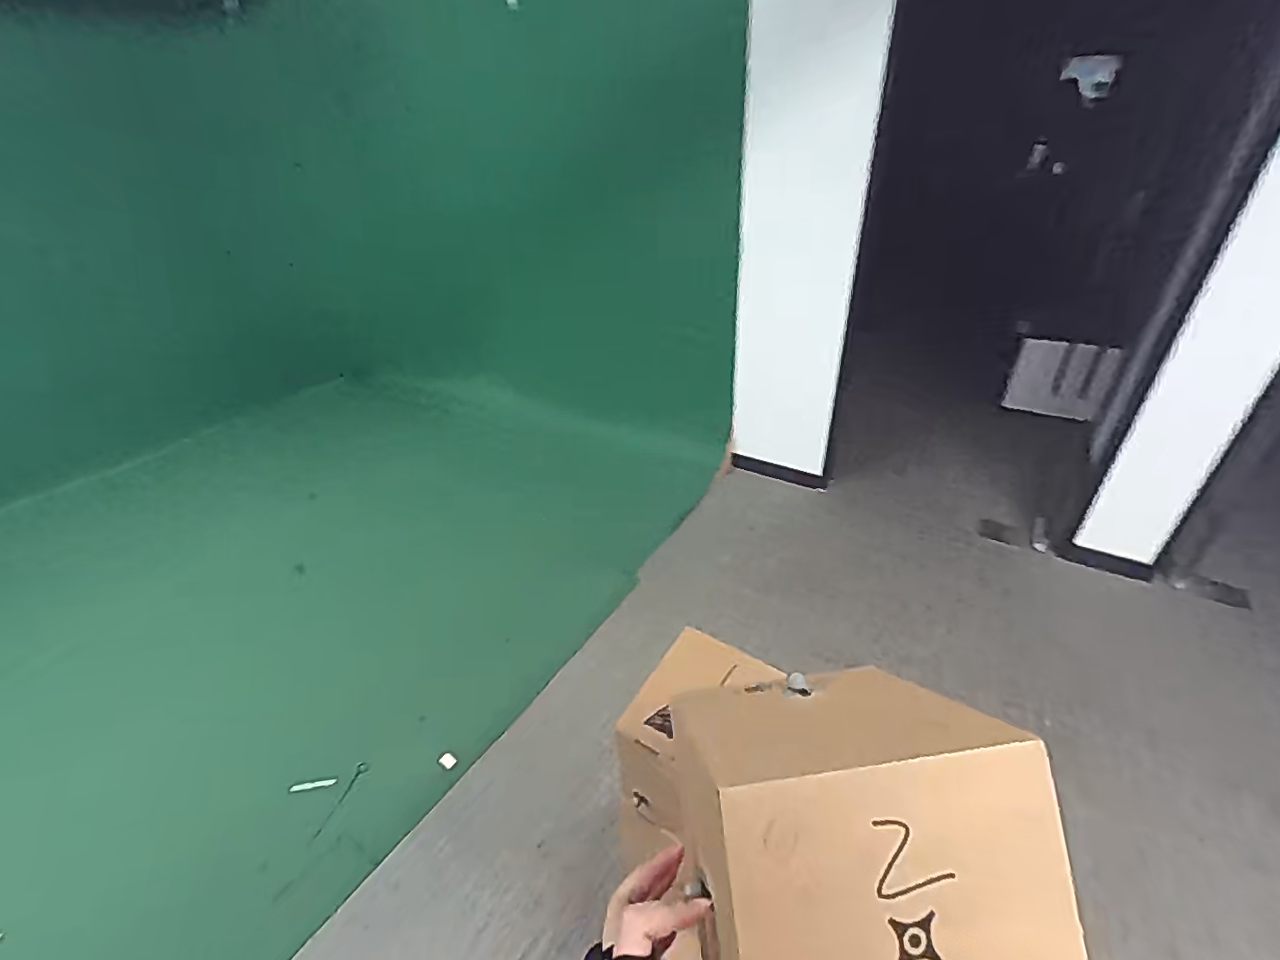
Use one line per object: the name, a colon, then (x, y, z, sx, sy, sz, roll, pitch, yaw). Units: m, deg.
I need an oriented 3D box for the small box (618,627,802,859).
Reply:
small box: (0.091, 0.333, 0.694, 0.168, 0.176, 0.179, 20, 40, 28)

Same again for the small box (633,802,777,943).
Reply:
small box: (0.109, 0.598, 0.887, 0.168, 0.176, 0.179, 21, 42, 30)

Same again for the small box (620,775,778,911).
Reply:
small box: (0.092, 0.470, 0.786, 0.168, 0.176, 0.179, 20, 43, 28)
